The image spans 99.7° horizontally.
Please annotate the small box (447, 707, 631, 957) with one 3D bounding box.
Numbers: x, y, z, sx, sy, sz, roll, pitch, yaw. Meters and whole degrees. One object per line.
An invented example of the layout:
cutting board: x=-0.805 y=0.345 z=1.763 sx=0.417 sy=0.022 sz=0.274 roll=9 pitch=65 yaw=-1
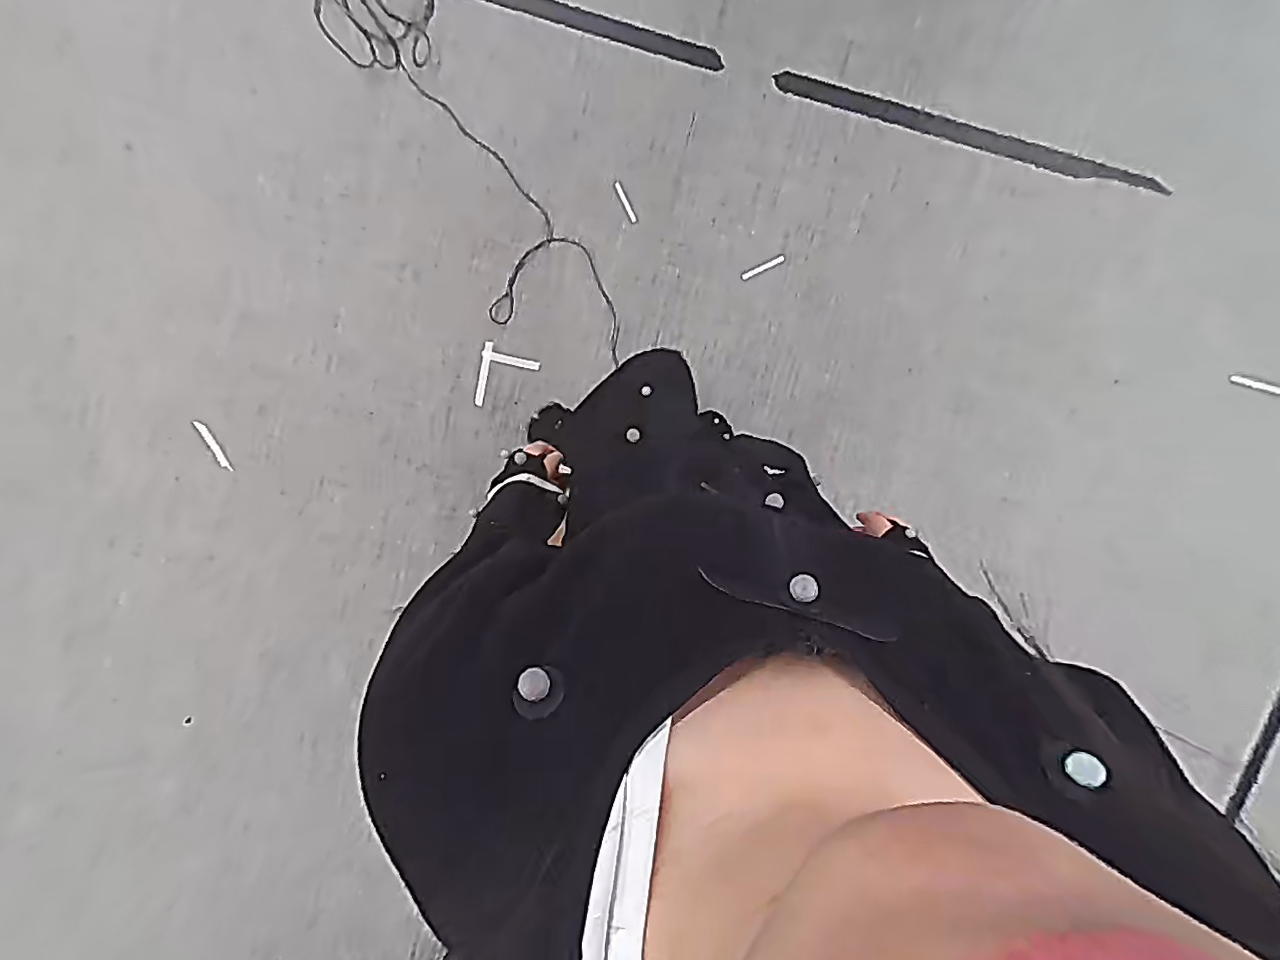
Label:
small box: x=-0.111 y=0.417 z=0.670 sx=0.168 sy=0.176 sz=0.179 roll=17 pitch=99 yaw=-1
